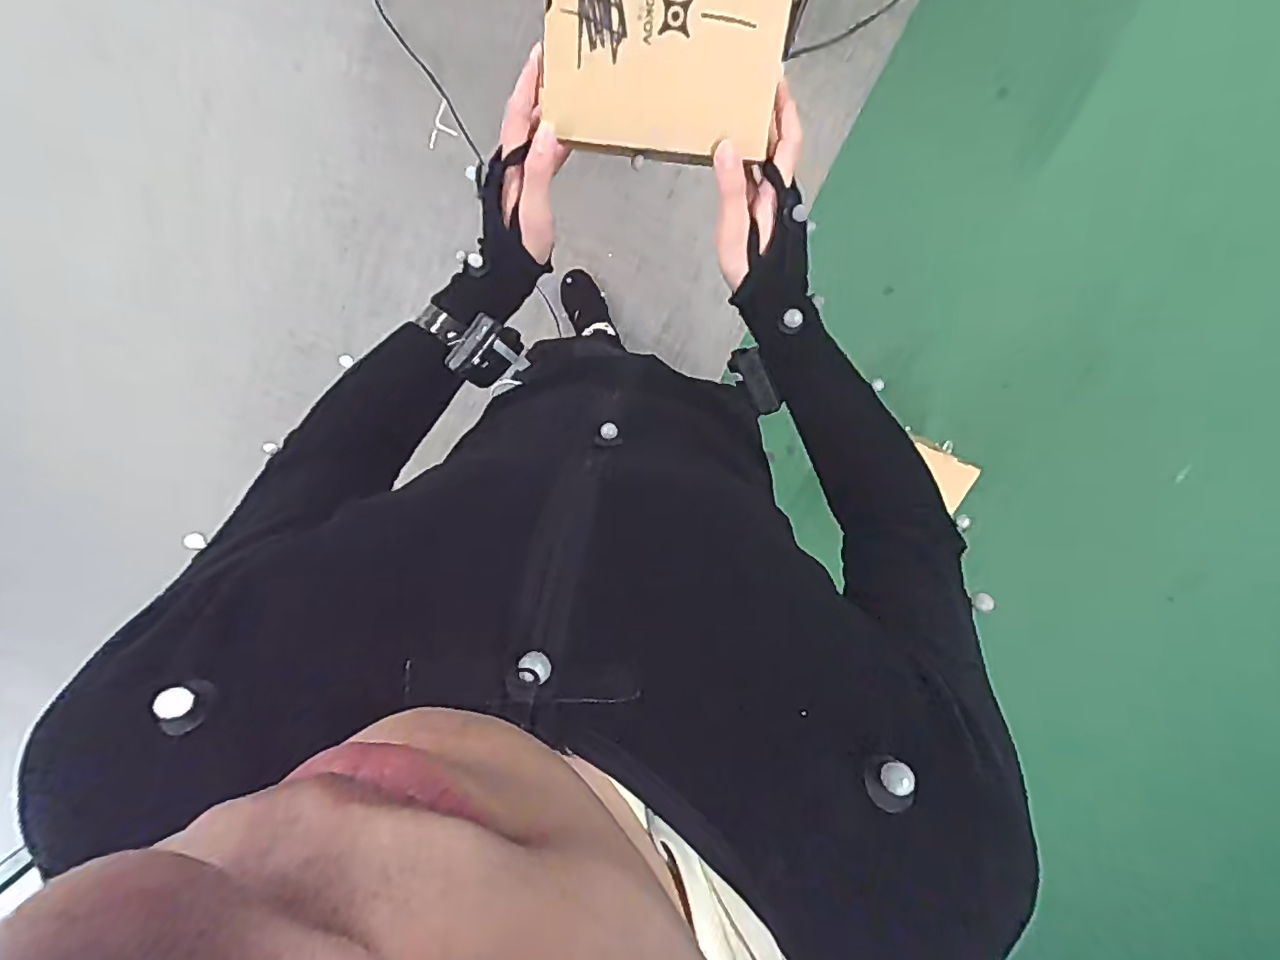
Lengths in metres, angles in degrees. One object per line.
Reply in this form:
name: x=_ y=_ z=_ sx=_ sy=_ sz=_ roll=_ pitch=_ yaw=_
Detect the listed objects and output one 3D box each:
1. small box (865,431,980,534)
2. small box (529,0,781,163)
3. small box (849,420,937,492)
small box: x=0.675 y=0.000 z=1.324 sx=0.168 sy=0.176 sz=0.179 roll=24 pitch=107 yaw=0
small box: x=0.015 y=-0.367 z=0.446 sx=0.179 sy=0.176 sz=0.168 roll=7 pitch=118 yaw=1
small box: x=0.695 y=-0.045 z=1.479 sx=0.168 sy=0.176 sz=0.179 roll=22 pitch=107 yaw=0
